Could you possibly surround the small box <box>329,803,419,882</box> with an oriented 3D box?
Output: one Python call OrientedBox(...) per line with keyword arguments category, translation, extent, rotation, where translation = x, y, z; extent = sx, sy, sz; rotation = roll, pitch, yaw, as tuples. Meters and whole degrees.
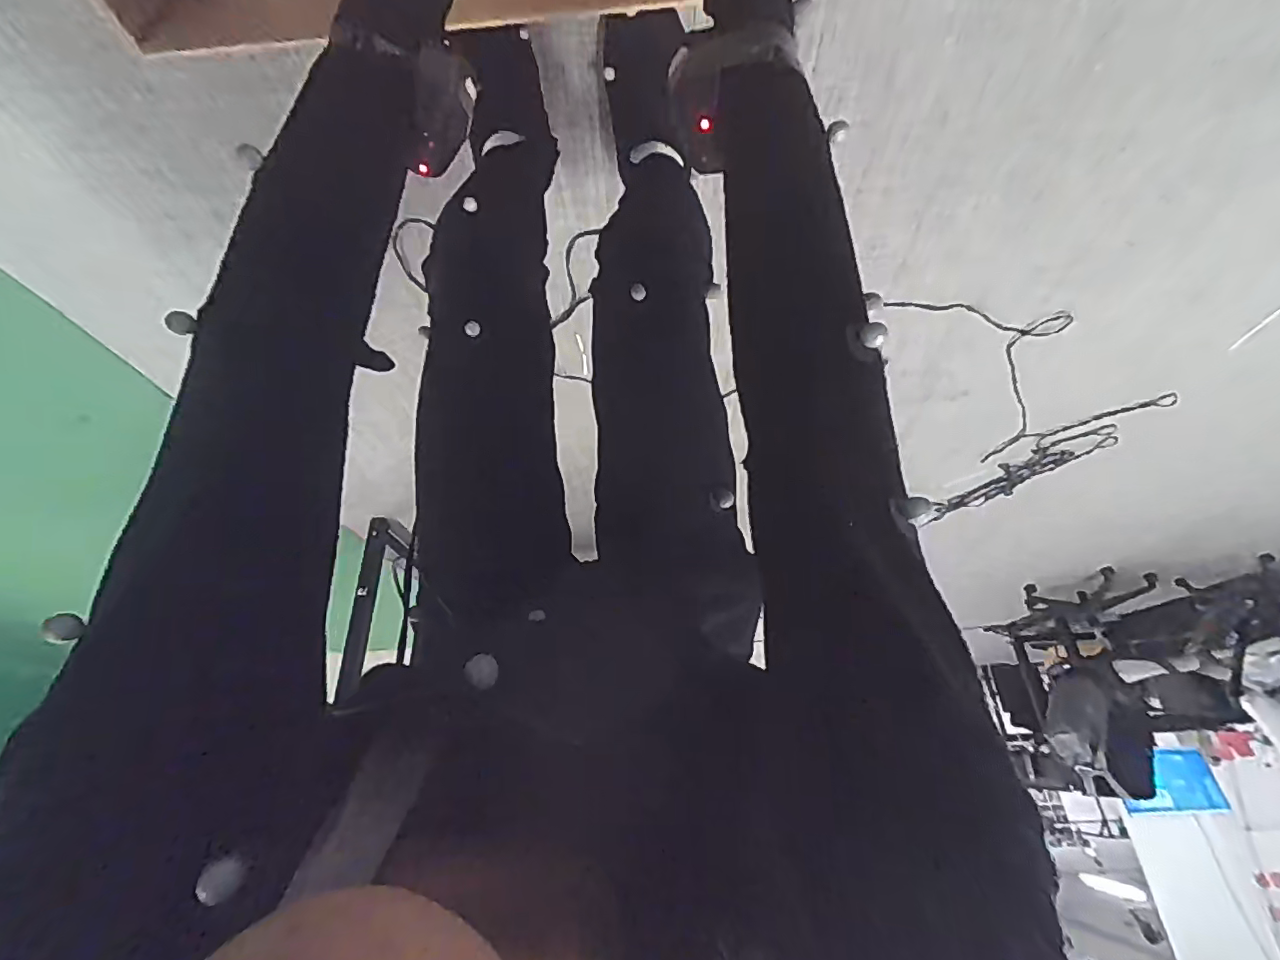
OrientedBox(category="small box", translation=(-0.744, 1.020, 1.535), extent=(0.168, 0.176, 0.179), rotation=(-3, 152, -1))
